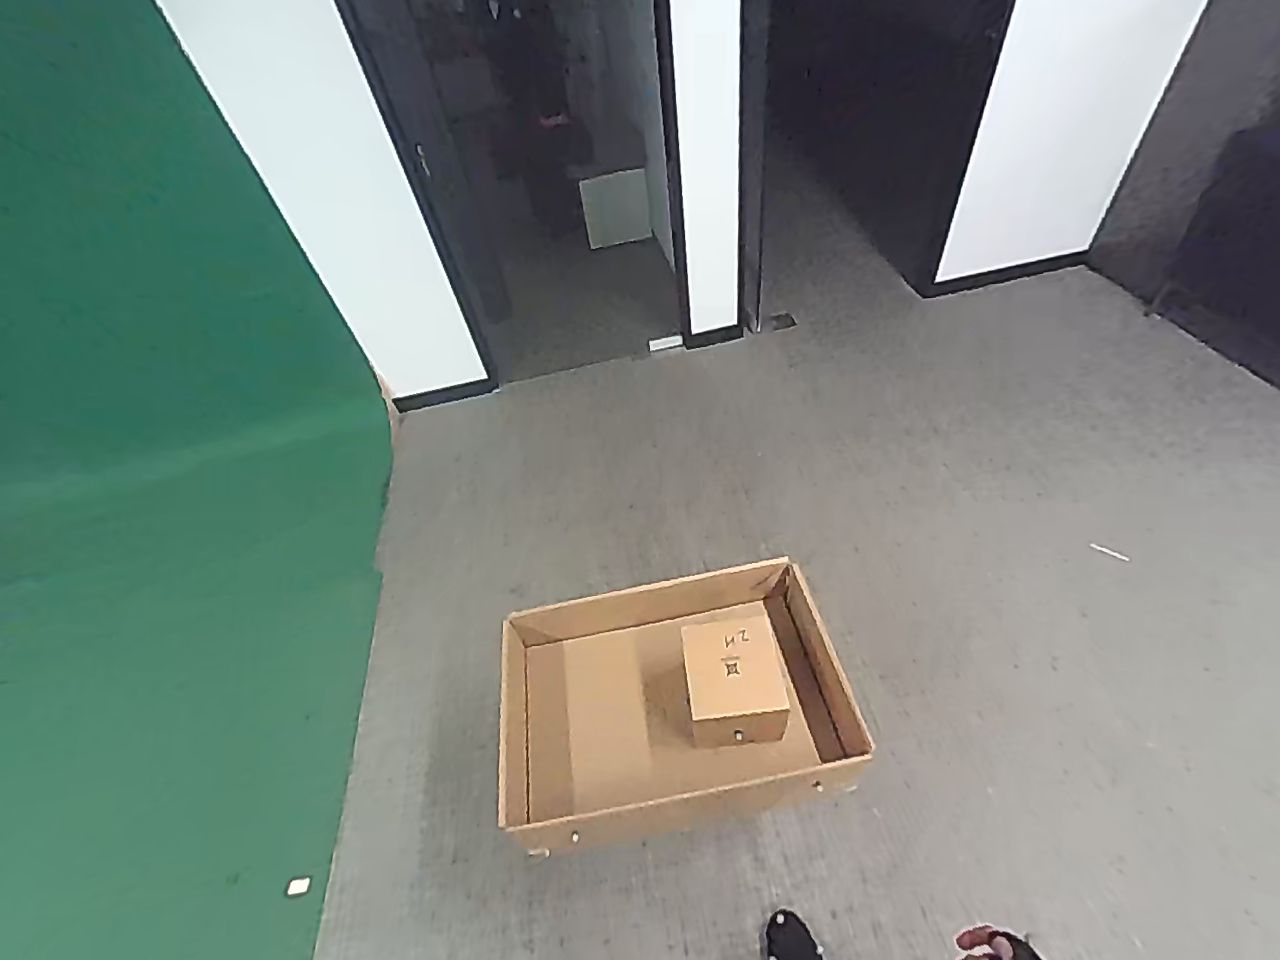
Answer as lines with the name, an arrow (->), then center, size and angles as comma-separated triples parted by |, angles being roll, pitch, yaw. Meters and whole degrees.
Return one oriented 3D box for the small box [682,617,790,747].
small box -> 0.175, 0.380, 1.003 | 0.168, 0.176, 0.179 | -8, 46, 3
